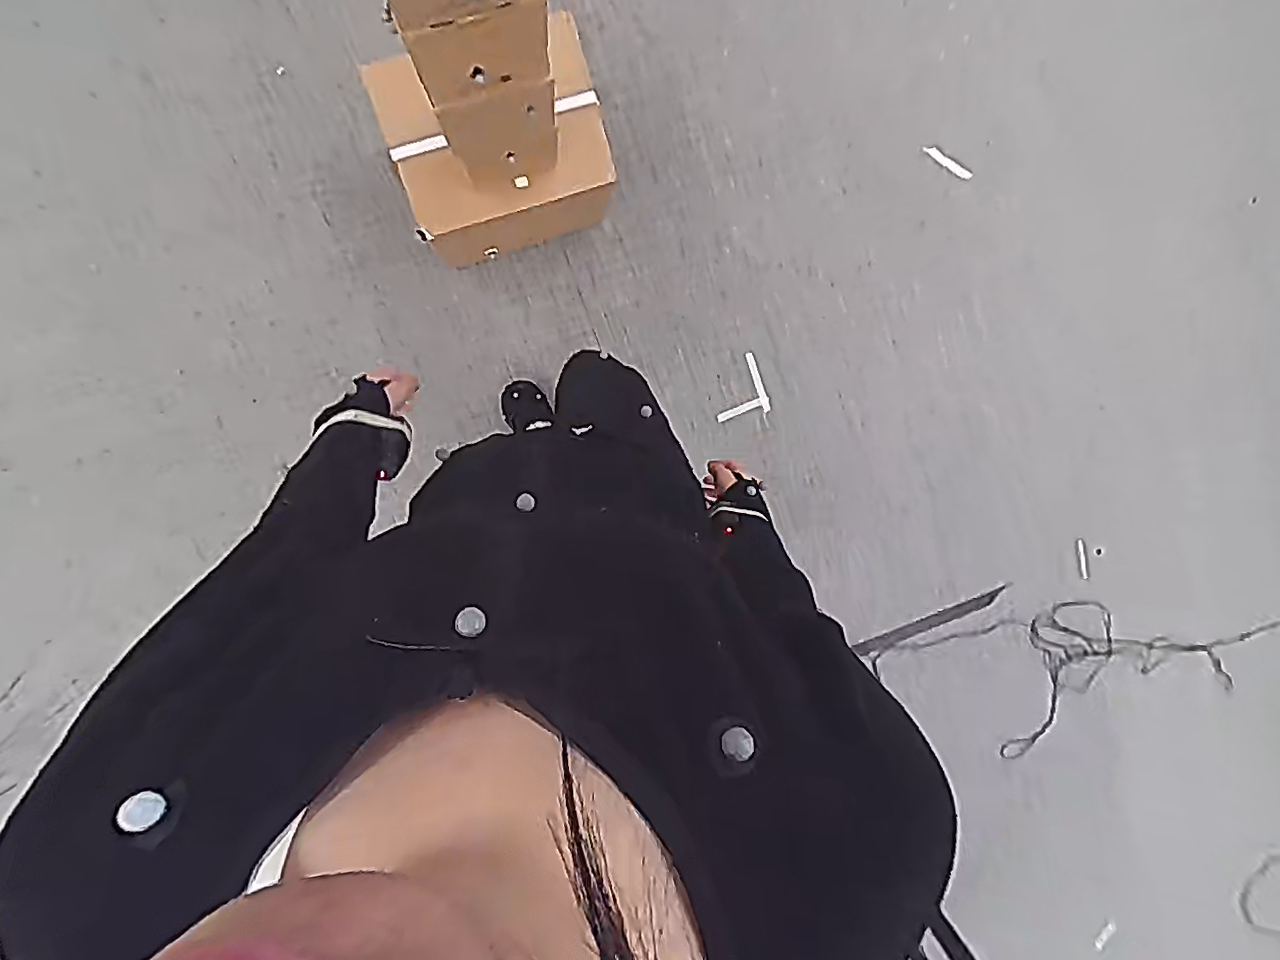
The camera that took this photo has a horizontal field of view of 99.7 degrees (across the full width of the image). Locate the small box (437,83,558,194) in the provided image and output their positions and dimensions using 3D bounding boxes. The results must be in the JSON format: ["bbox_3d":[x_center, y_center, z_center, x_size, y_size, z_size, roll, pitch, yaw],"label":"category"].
[{"bbox_3d":[-0.255,-0.639,0.963,0.179,0.176,0.168,-22,104,-6],"label":"small box"}]

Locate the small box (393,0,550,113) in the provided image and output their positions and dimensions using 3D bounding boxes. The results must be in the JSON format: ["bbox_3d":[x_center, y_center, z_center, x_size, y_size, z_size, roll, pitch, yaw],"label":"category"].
[{"bbox_3d":[-0.216,-0.586,0.643,0.168,0.176,0.179,-21,104,-5],"label":"small box"}]

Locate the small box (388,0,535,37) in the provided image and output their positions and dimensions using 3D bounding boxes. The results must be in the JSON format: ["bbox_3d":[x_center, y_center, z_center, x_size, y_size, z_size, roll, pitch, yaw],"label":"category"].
[{"bbox_3d":[-0.191,-0.559,0.482,0.168,0.176,0.179,-22,104,-4],"label":"small box"}]
